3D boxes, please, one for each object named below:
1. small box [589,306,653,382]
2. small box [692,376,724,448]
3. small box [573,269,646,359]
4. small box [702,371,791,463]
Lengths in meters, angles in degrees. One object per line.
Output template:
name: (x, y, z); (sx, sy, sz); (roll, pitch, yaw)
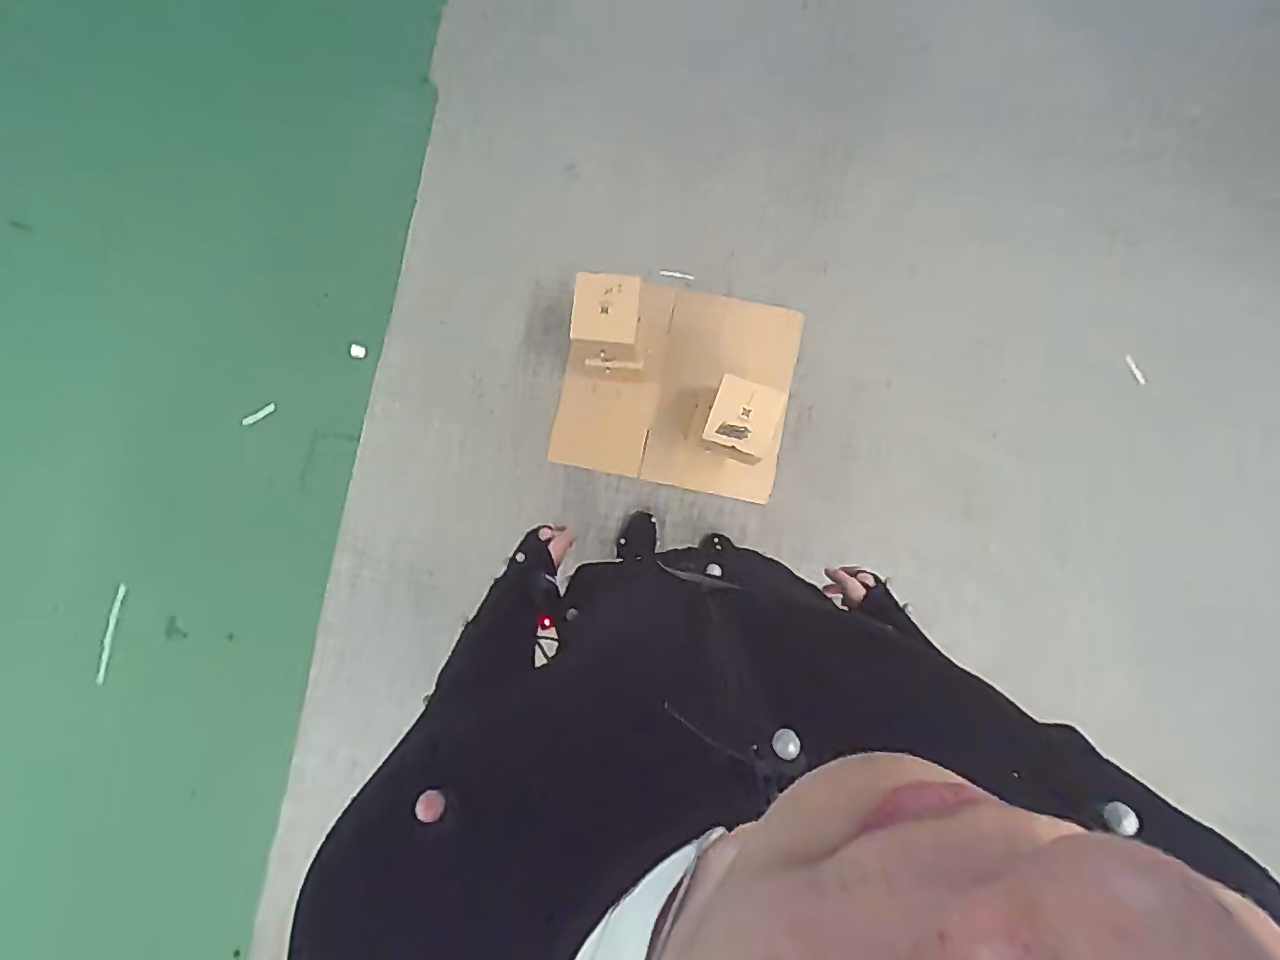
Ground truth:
small box: (-0.052, -0.400, 1.582); (0.168, 0.176, 0.179); (5, 86, 3)
small box: (0.250, -0.176, 1.555); (0.168, 0.176, 0.179); (17, 87, 4)
small box: (-0.074, -0.428, 1.420); (0.168, 0.176, 0.179); (6, 86, 1)
small box: (0.264, -0.153, 1.388); (0.168, 0.176, 0.179); (21, 86, 3)
